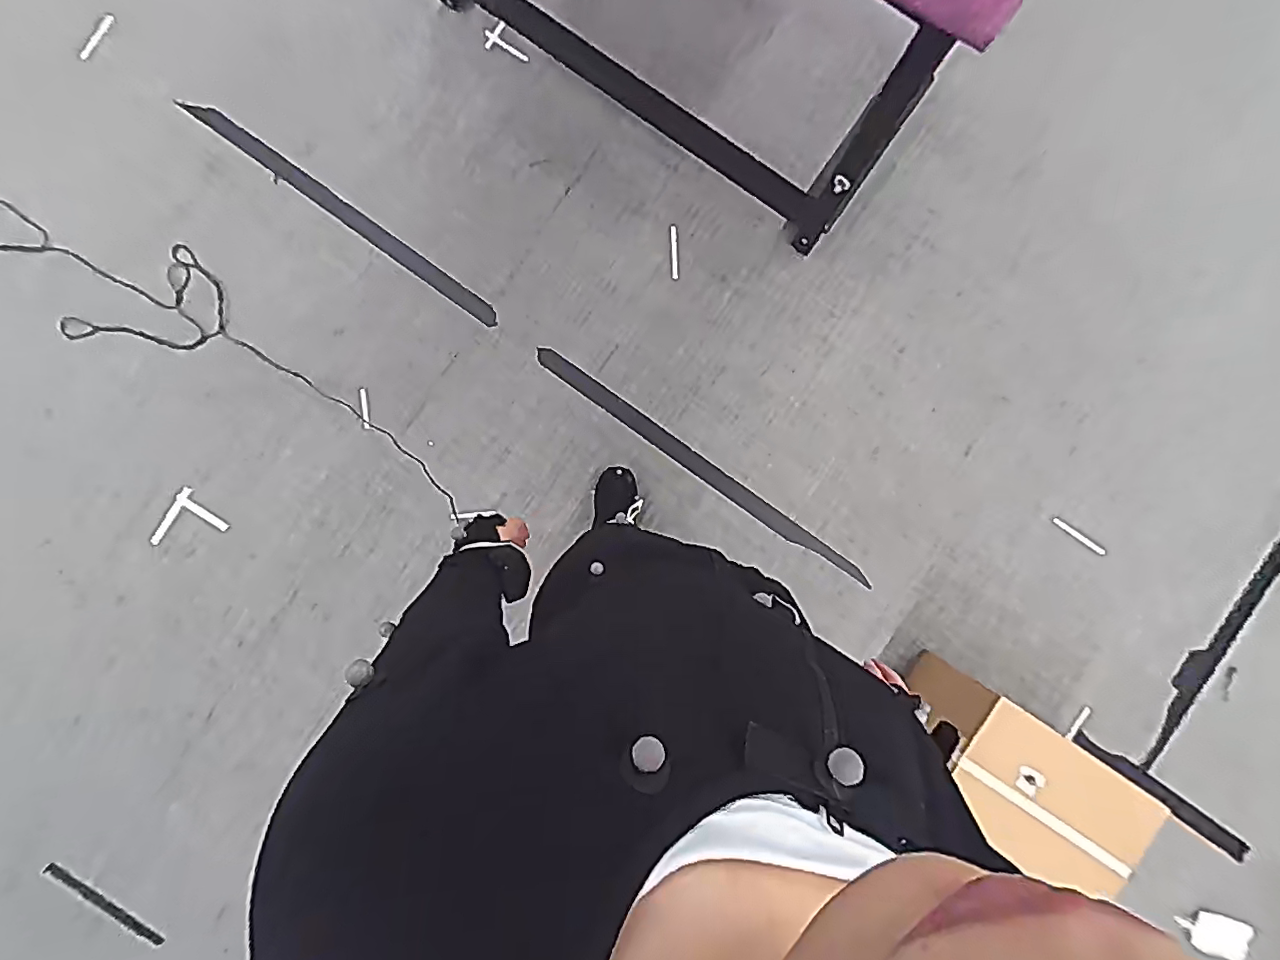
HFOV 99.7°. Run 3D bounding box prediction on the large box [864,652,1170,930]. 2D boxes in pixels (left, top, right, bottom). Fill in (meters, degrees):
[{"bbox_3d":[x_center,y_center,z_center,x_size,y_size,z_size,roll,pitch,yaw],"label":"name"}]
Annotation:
[{"bbox_3d":[0.807,0.664,1.223,0.408,0.320,0.320,34,90,2],"label":"large box"}]
